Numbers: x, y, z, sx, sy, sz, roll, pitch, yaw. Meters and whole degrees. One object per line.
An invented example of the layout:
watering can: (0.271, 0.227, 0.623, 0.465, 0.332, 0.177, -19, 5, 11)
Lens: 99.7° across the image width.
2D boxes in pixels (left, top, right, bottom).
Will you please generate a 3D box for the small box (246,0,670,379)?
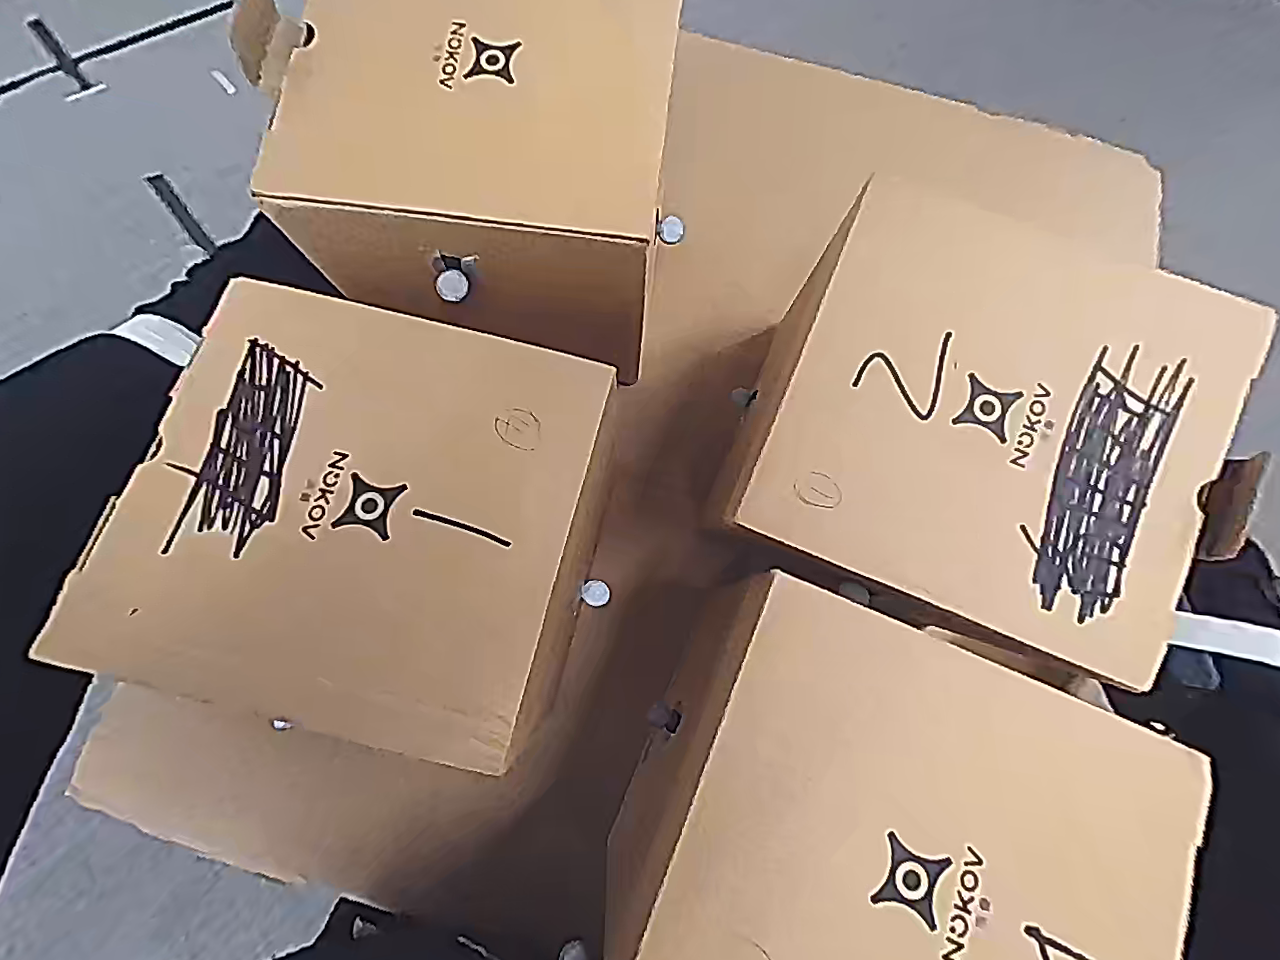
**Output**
small box: (-0.081, -0.172, 0.331, 0.179, 0.176, 0.168, 6, 78, 1)
